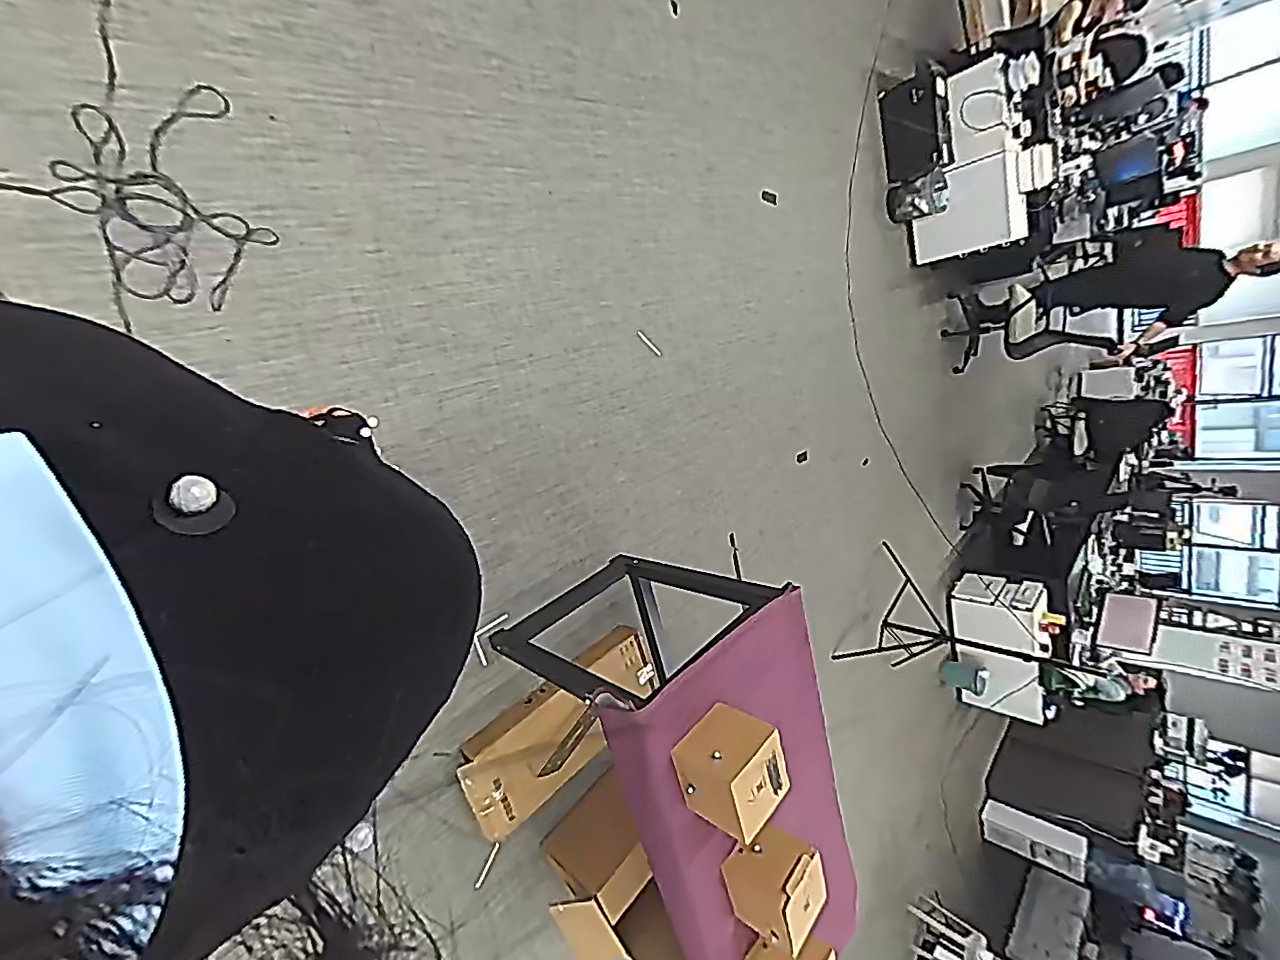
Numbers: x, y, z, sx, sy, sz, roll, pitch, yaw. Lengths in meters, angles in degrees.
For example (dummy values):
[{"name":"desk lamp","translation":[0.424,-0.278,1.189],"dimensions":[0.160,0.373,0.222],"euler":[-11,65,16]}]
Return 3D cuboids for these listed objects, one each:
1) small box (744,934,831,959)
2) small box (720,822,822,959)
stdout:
[{"name":"small box","translation":[0.385,1.295,1.398],"dimensions":[0.168,0.176,0.179],"euler":[-20,105,-41]},{"name":"small box","translation":[0.321,0.992,1.325],"dimensions":[0.168,0.176,0.179],"euler":[-30,111,-41]}]
